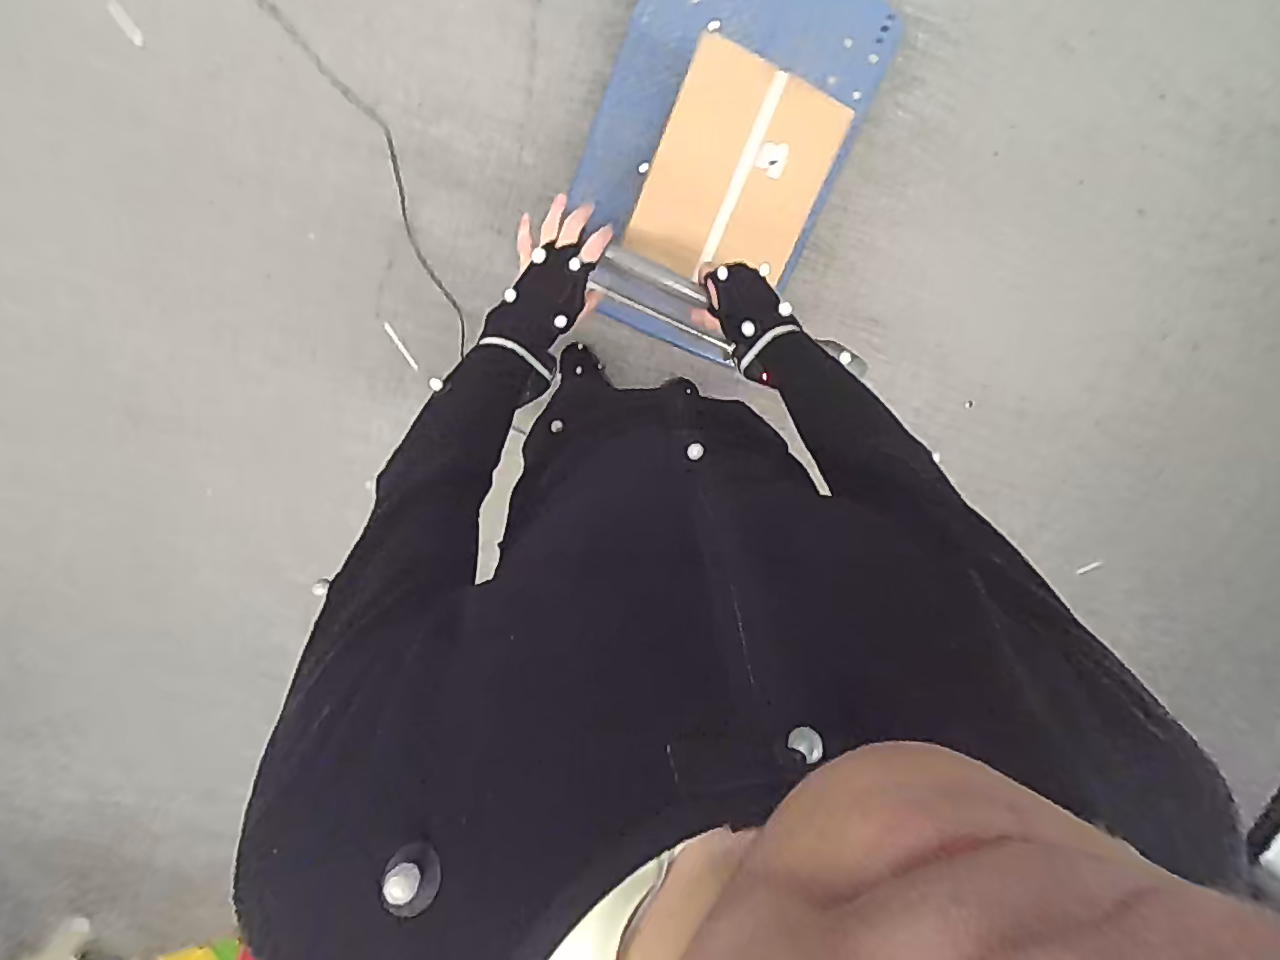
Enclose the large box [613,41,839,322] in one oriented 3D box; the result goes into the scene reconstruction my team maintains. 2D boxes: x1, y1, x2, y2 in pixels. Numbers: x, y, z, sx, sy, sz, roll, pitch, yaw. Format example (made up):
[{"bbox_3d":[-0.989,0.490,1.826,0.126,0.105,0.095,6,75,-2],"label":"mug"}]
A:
[{"bbox_3d":[0.153,-0.594,1.176,0.320,0.320,0.408,20,102,-11],"label":"large box"}]
